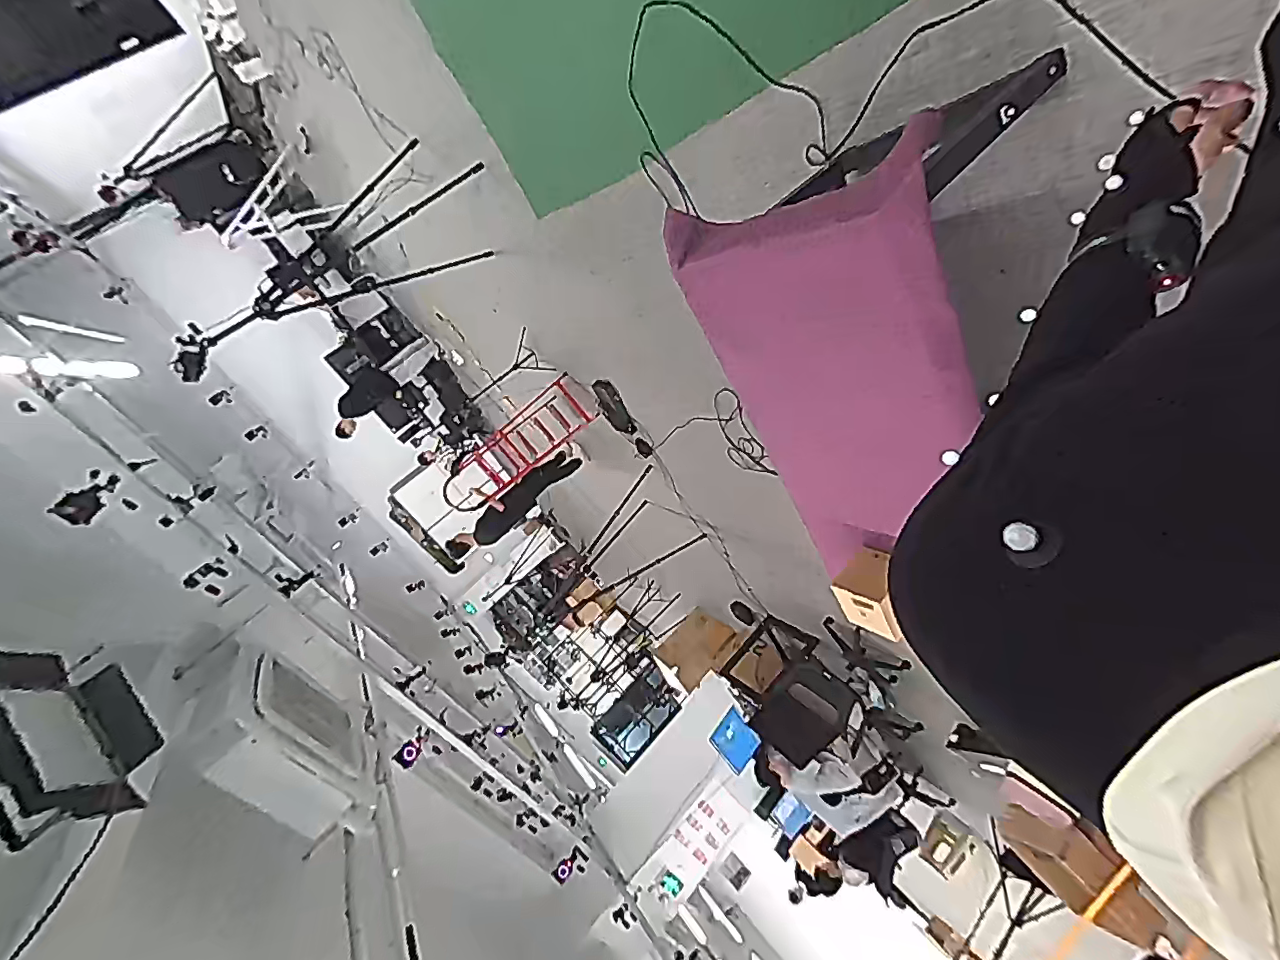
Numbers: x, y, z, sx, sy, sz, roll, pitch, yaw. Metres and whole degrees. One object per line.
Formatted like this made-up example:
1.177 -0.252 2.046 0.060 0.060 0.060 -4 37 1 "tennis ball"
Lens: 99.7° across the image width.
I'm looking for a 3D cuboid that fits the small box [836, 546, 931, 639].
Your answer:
0.713 0.321 1.576 0.168 0.176 0.179 18 148 57 "small box"
